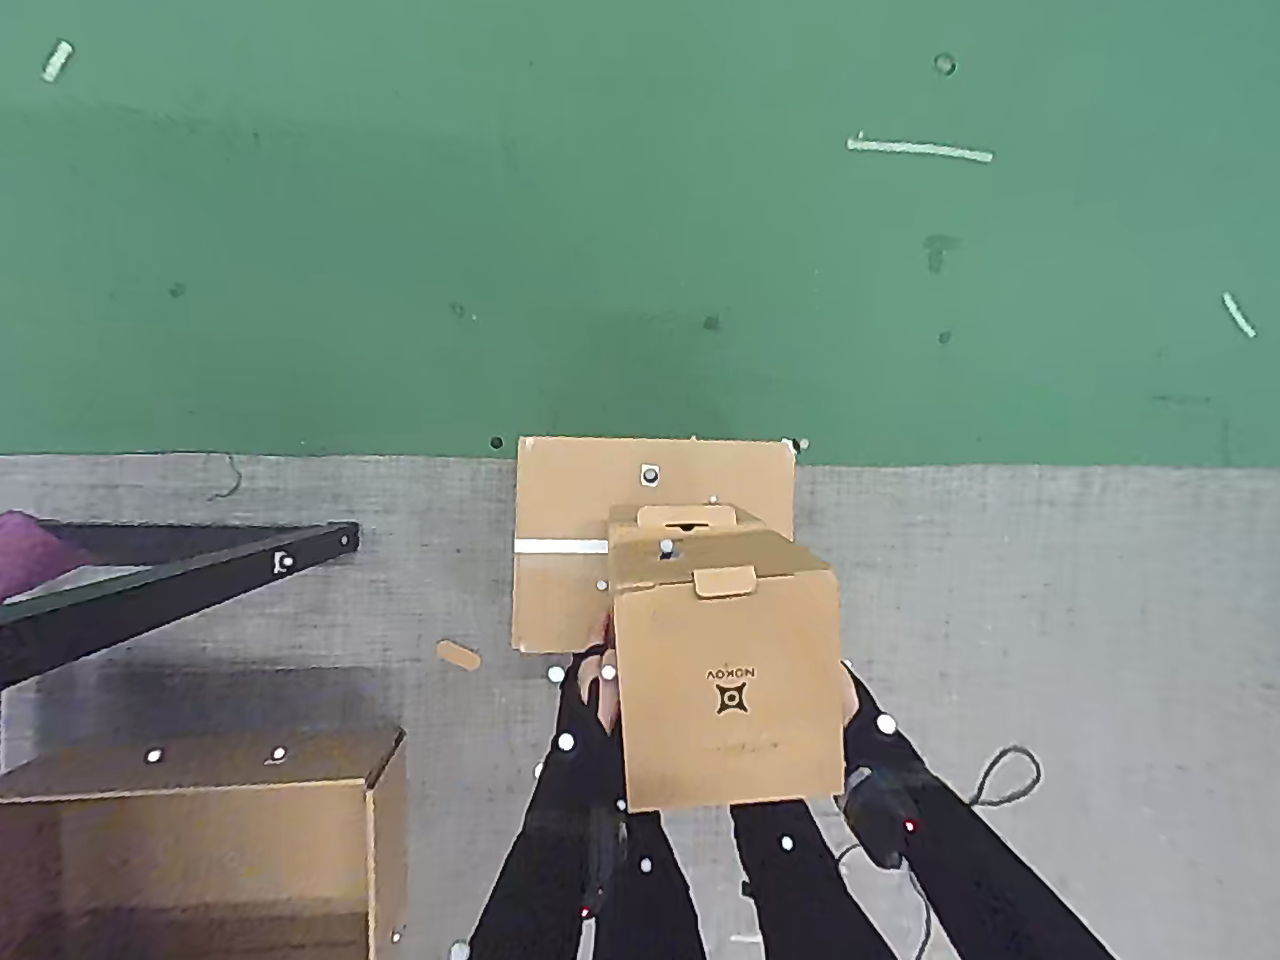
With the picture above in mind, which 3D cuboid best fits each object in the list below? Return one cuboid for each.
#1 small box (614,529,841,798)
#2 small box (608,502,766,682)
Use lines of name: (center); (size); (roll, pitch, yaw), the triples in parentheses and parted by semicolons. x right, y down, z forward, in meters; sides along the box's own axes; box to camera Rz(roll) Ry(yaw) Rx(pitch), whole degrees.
small box: (0.063, 0.141, 0.479); (0.168, 0.176, 0.179); (-3, 94, -2)
small box: (0.045, 0.119, 0.641); (0.168, 0.176, 0.179); (-1, 95, -2)
